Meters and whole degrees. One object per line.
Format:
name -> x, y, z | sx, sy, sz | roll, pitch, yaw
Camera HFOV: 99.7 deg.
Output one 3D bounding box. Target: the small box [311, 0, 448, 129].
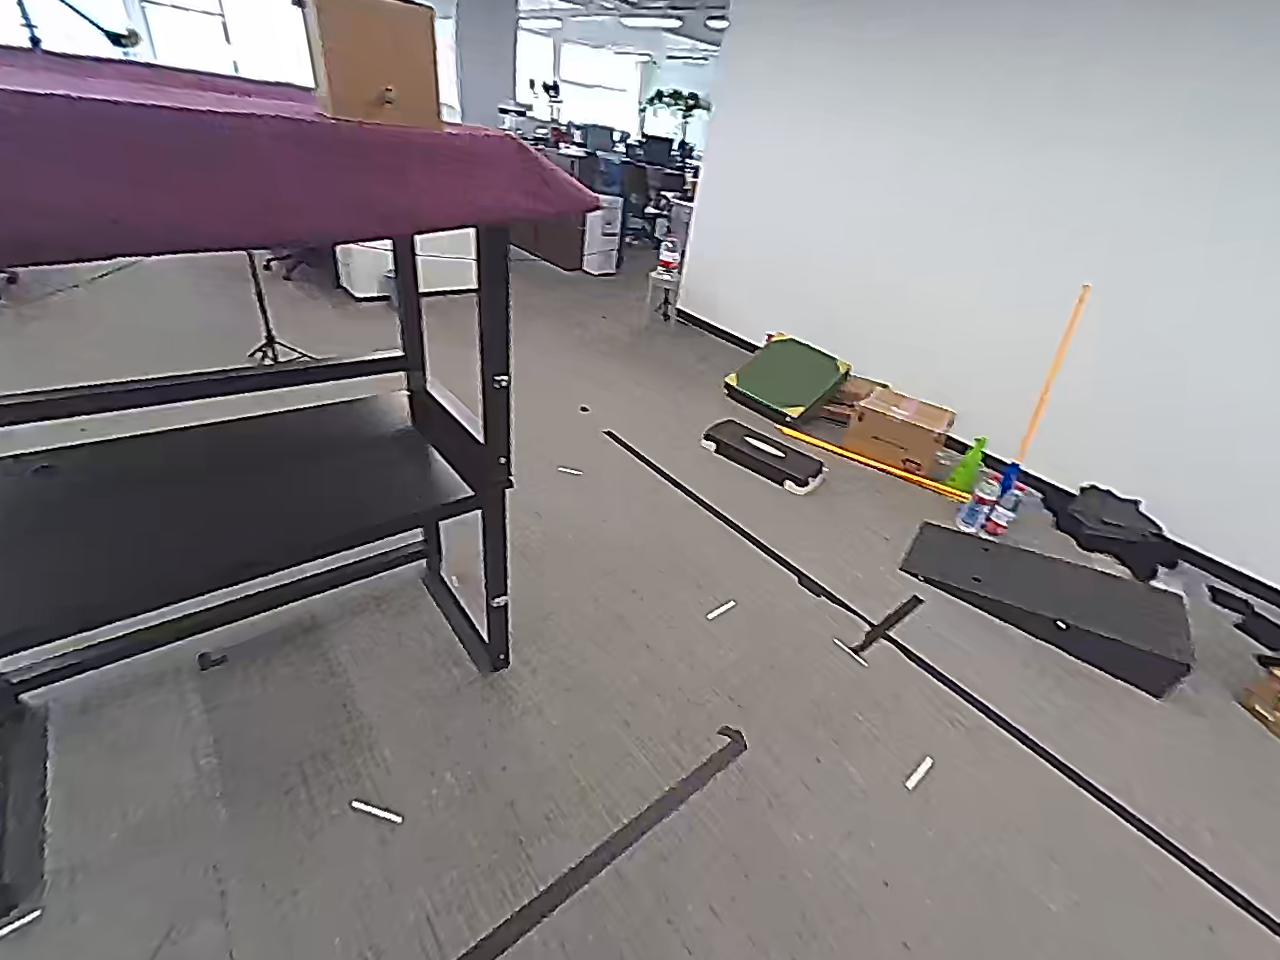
small box -> -0.430, -0.695, 0.902 | 0.179, 0.176, 0.168 | -14, 39, -31
